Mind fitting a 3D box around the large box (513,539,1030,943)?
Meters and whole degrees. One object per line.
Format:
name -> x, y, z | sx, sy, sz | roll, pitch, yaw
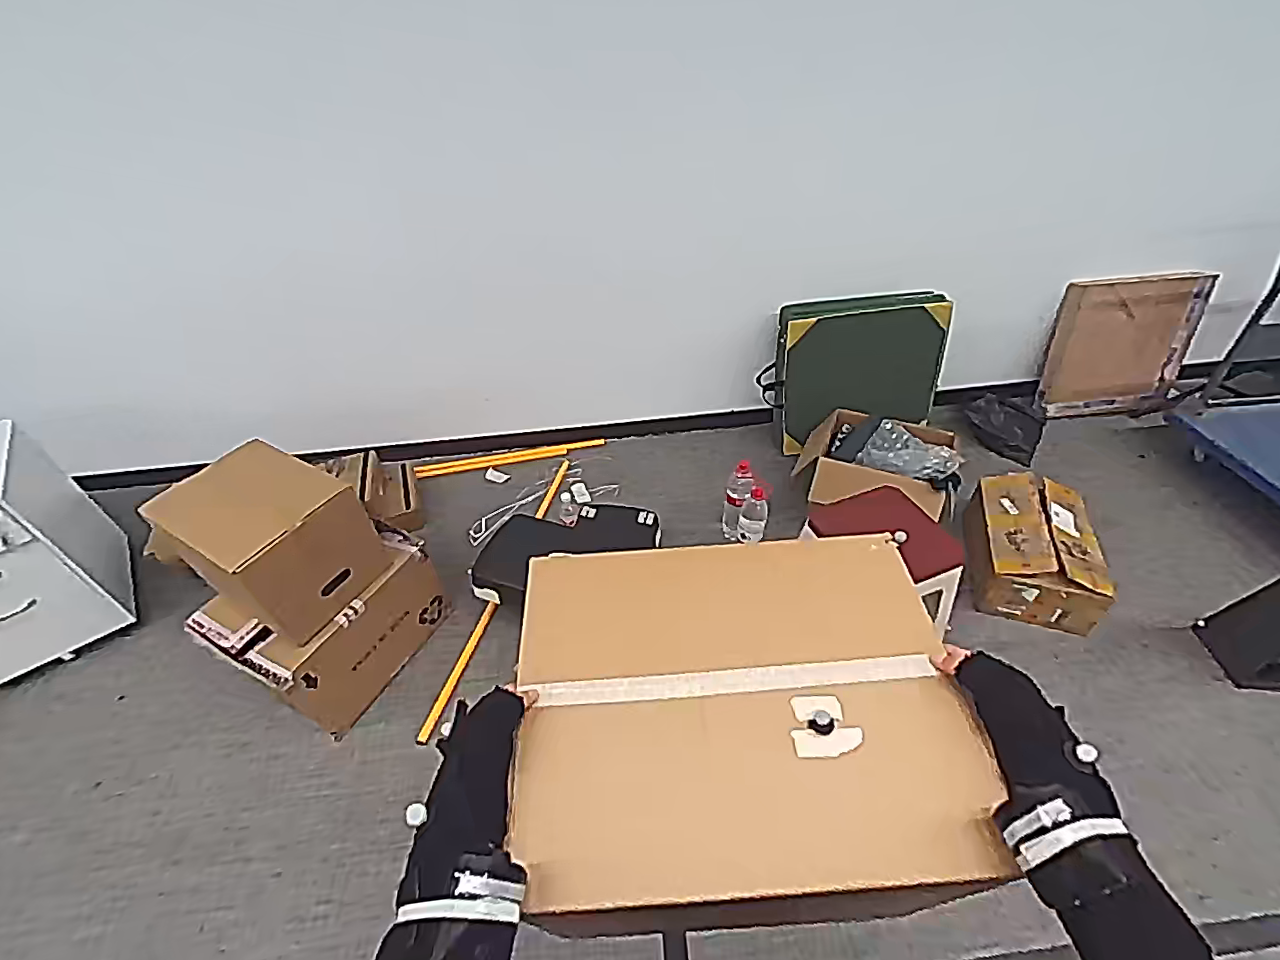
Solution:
large box -> 0.095, 0.295, 0.613 | 0.408, 0.320, 0.320 | -4, 47, -1
